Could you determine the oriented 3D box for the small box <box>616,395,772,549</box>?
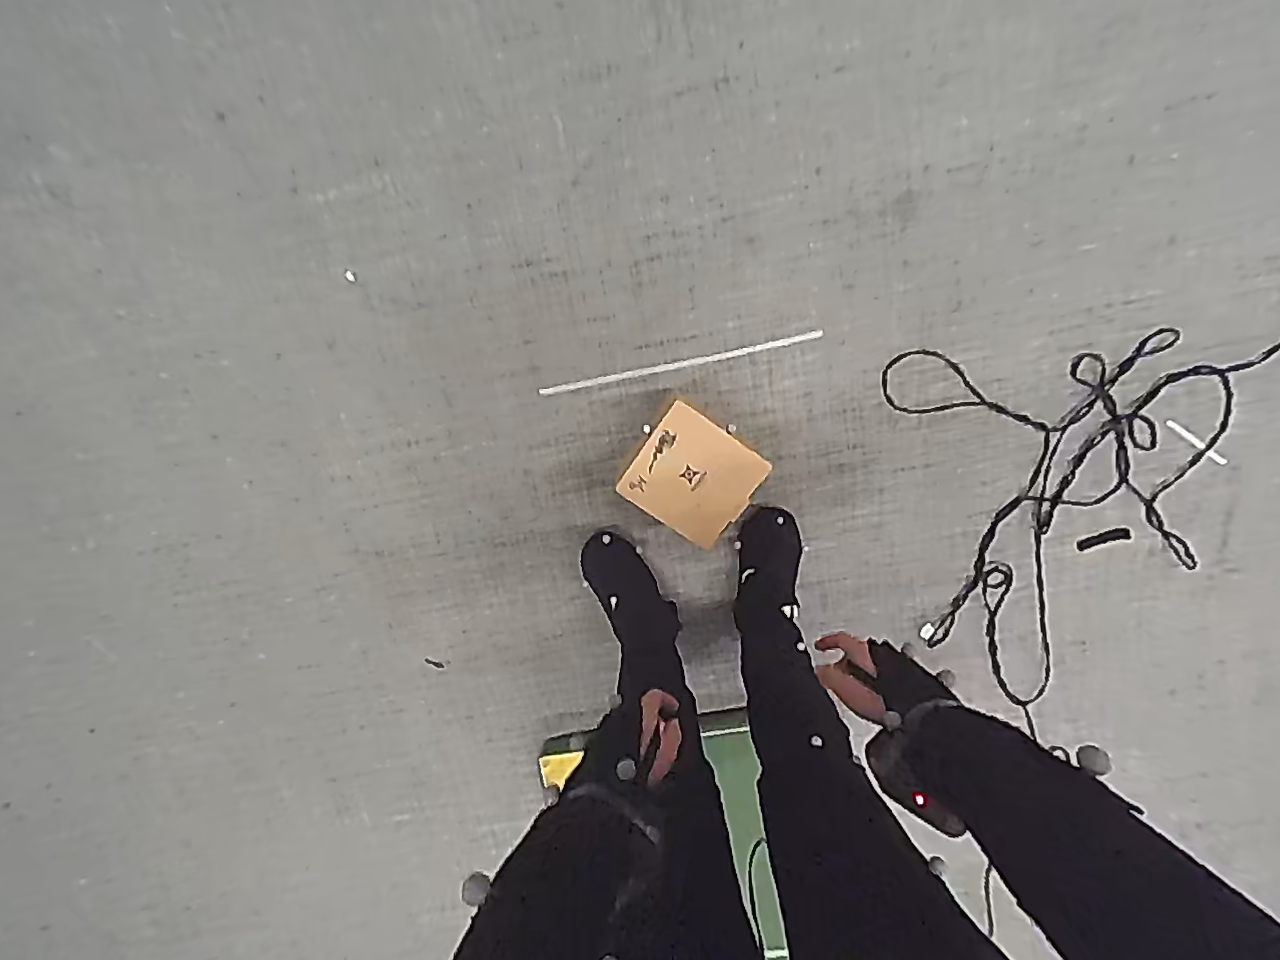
[{"bbox_3d":[0.080,-0.024,0.874,0.179,0.176,0.168,34,102,-8],"label":"small box"}]
